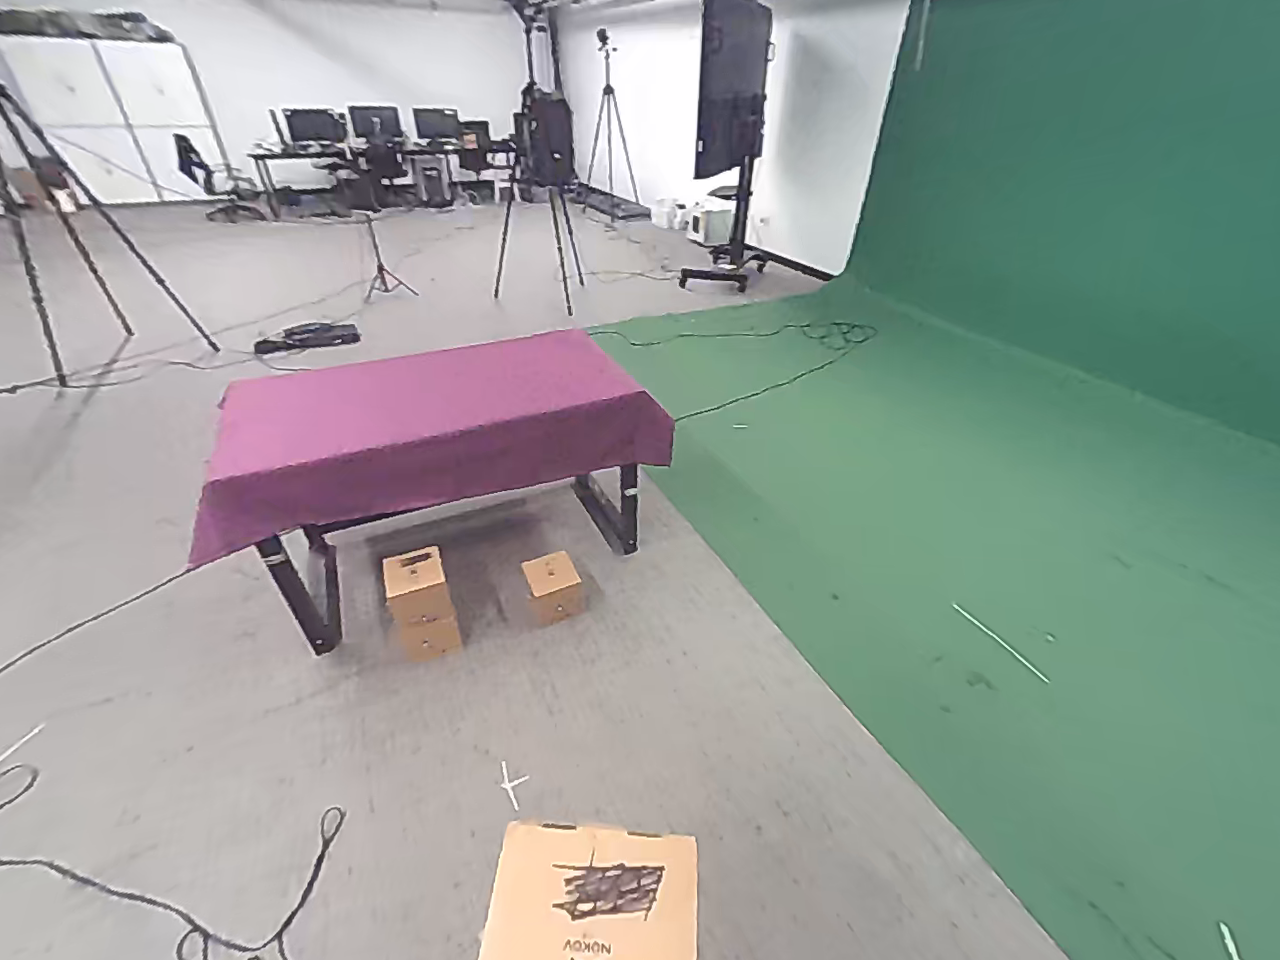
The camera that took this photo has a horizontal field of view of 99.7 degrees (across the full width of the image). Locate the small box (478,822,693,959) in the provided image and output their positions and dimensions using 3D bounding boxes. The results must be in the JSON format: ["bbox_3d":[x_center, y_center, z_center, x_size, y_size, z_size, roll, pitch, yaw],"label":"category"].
[{"bbox_3d":[-0.043,0.423,0.470,0.168,0.176,0.179,3,47,4],"label":"small box"}]
